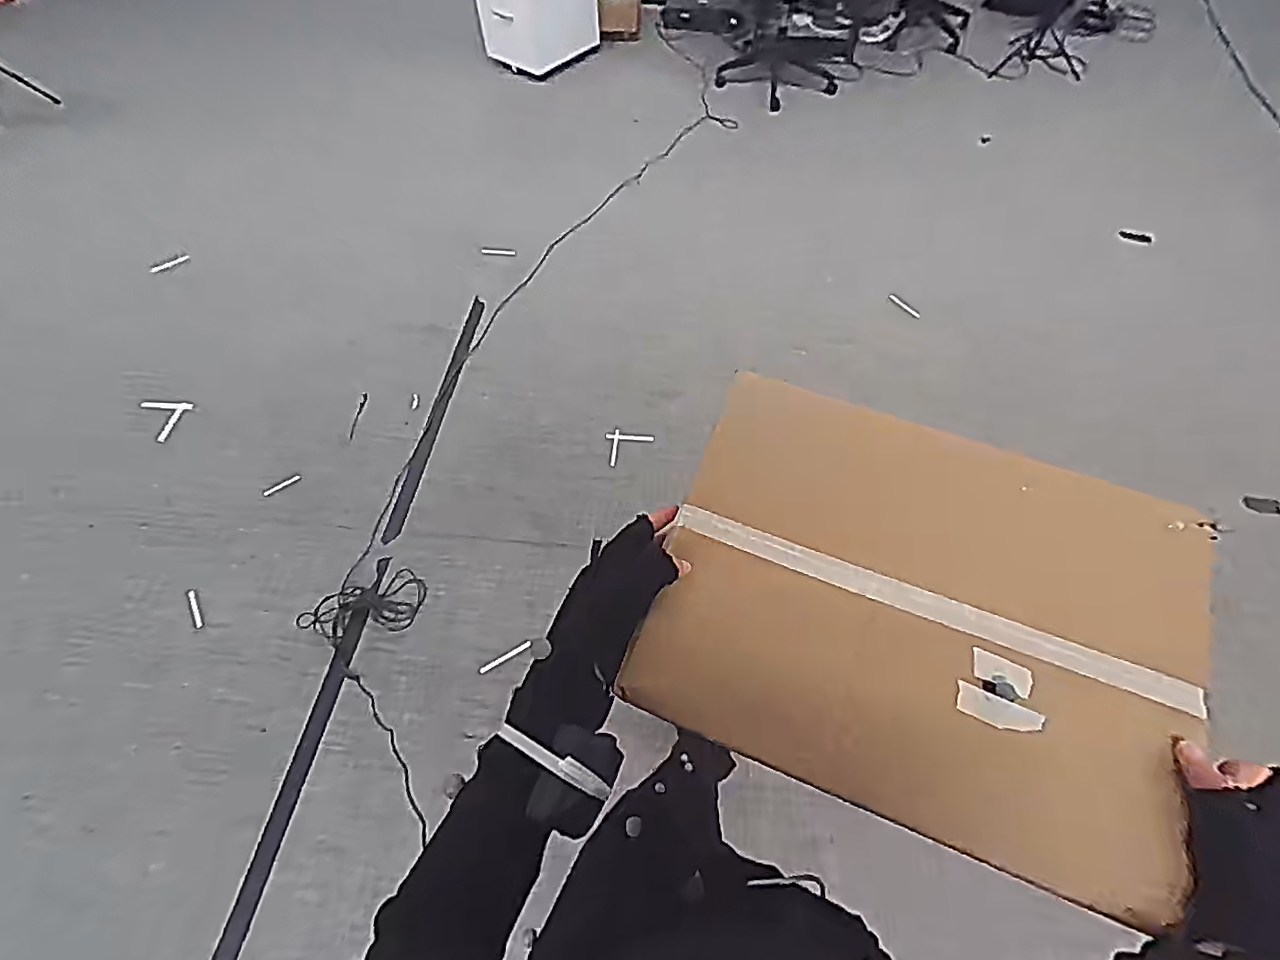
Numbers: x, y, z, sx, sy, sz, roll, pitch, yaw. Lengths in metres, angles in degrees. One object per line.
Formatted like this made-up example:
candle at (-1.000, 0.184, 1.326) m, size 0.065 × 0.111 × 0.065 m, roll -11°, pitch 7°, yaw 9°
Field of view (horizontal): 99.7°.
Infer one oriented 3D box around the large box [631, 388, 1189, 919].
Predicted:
large box at (0.234, 0.157, 0.586) m, size 0.408 × 0.320 × 0.320 m, roll 20°, pitch 72°, yaw 10°
